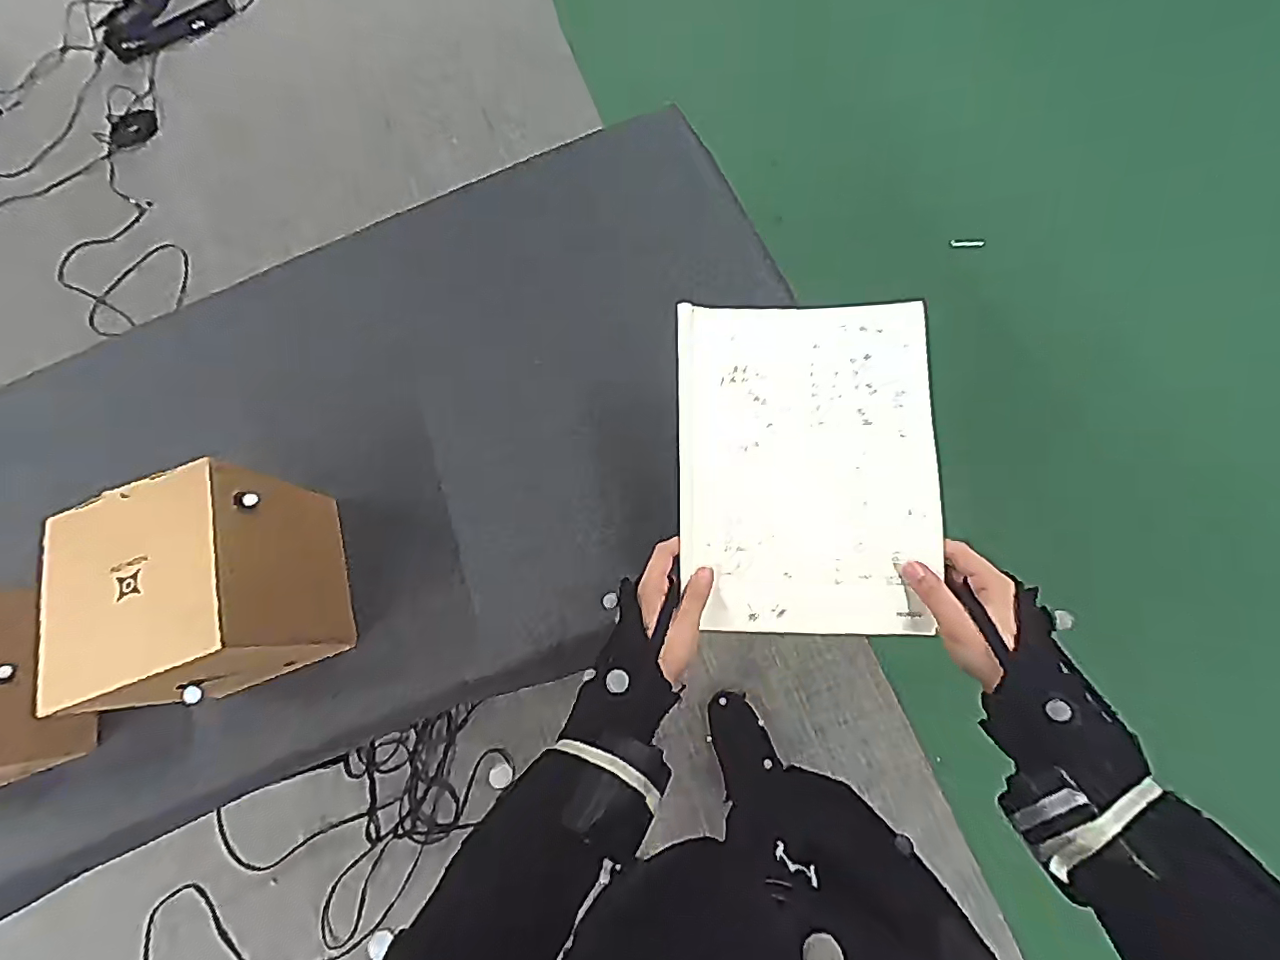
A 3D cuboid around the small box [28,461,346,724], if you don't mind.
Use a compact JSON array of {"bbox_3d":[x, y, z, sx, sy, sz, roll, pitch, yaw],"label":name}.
[{"bbox_3d":[-0.414,0.109,0.521,0.168,0.176,0.179,-21,70,3],"label":"small box"}]
